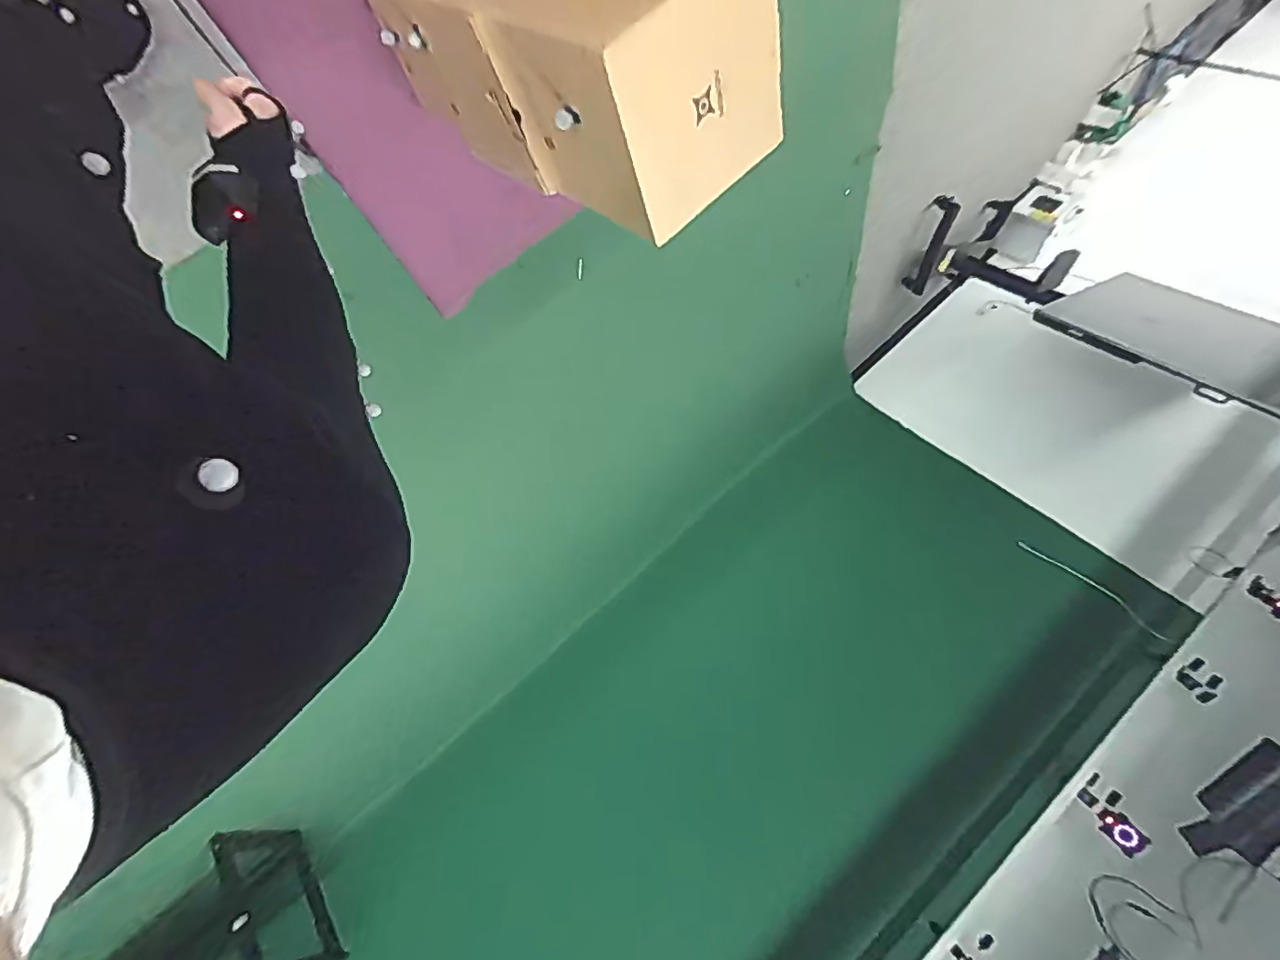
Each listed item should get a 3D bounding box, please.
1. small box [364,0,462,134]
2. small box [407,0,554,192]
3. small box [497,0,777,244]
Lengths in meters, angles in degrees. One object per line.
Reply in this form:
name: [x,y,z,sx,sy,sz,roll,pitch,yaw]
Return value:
small box: [-0.202,-0.555,0.652,0.179,0.176,0.168,-40,149,-11]
small box: [-0.113,-0.446,0.566,0.179,0.176,0.168,-43,149,-9]
small box: [-0.003,-0.357,0.487,0.179,0.176,0.168,-44,149,-8]
